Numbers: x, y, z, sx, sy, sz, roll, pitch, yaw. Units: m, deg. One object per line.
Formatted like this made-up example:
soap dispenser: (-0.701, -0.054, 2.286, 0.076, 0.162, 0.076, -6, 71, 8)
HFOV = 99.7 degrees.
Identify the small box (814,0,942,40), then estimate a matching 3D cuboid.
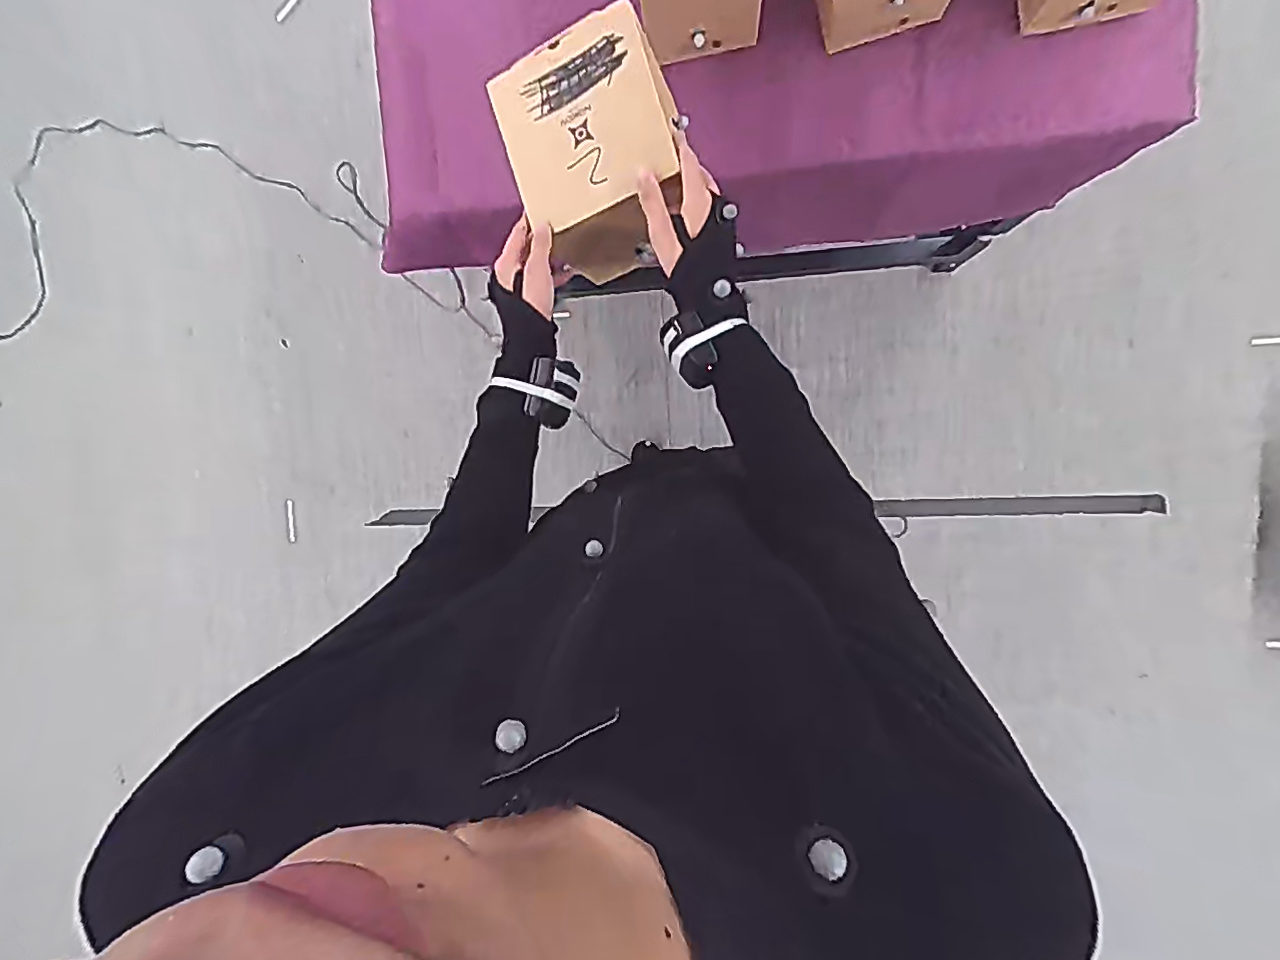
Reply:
small box: (0.327, -0.733, 0.712, 0.168, 0.176, 0.179, -12, 92, 8)

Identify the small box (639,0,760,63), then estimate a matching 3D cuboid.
small box: (0.075, -0.732, 0.745, 0.168, 0.176, 0.179, -6, 94, 8)

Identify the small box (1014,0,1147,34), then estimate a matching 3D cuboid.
small box: (0.597, -0.723, 0.678, 0.168, 0.176, 0.179, -6, 93, 9)
